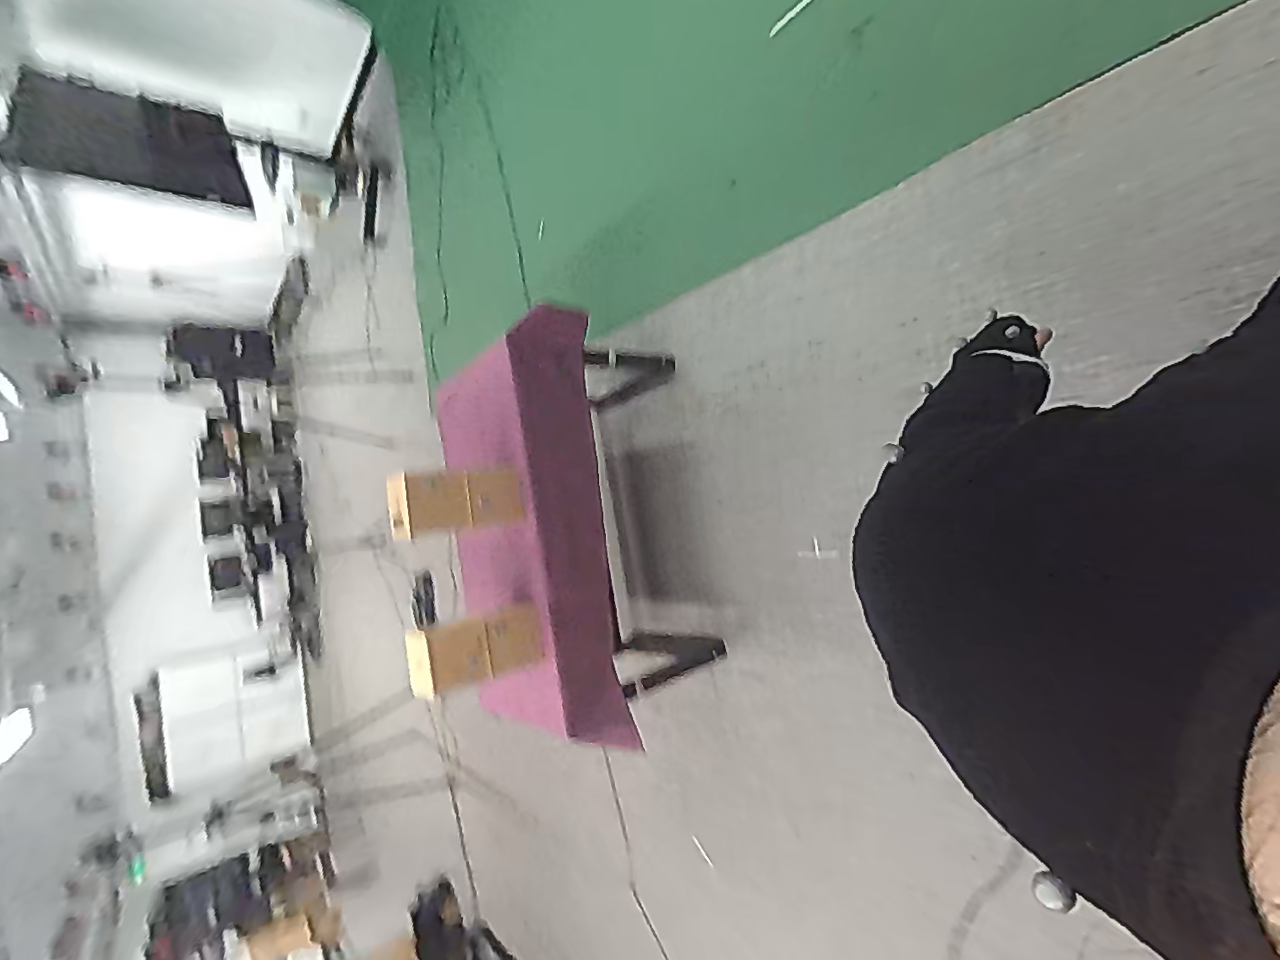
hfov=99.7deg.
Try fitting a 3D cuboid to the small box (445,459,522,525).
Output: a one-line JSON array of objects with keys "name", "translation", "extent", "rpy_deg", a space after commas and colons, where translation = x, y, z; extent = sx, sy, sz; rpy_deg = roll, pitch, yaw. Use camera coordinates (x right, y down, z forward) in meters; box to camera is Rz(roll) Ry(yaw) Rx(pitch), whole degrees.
[{"name": "small box", "translation": [-0.472, 0.036, 1.645], "extent": [0.168, 0.176, 0.179], "rpy_deg": [-11, 86, 49]}]

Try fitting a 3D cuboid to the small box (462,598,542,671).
[{"name": "small box", "translation": [-0.414, 0.455, 1.624], "extent": [0.168, 0.176, 0.179], "rpy_deg": [-15, 83, 49]}]

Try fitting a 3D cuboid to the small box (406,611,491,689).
[{"name": "small box", "translation": [-0.540, 0.470, 1.521], "extent": [0.179, 0.176, 0.168], "rpy_deg": [-15, 83, 48]}]
